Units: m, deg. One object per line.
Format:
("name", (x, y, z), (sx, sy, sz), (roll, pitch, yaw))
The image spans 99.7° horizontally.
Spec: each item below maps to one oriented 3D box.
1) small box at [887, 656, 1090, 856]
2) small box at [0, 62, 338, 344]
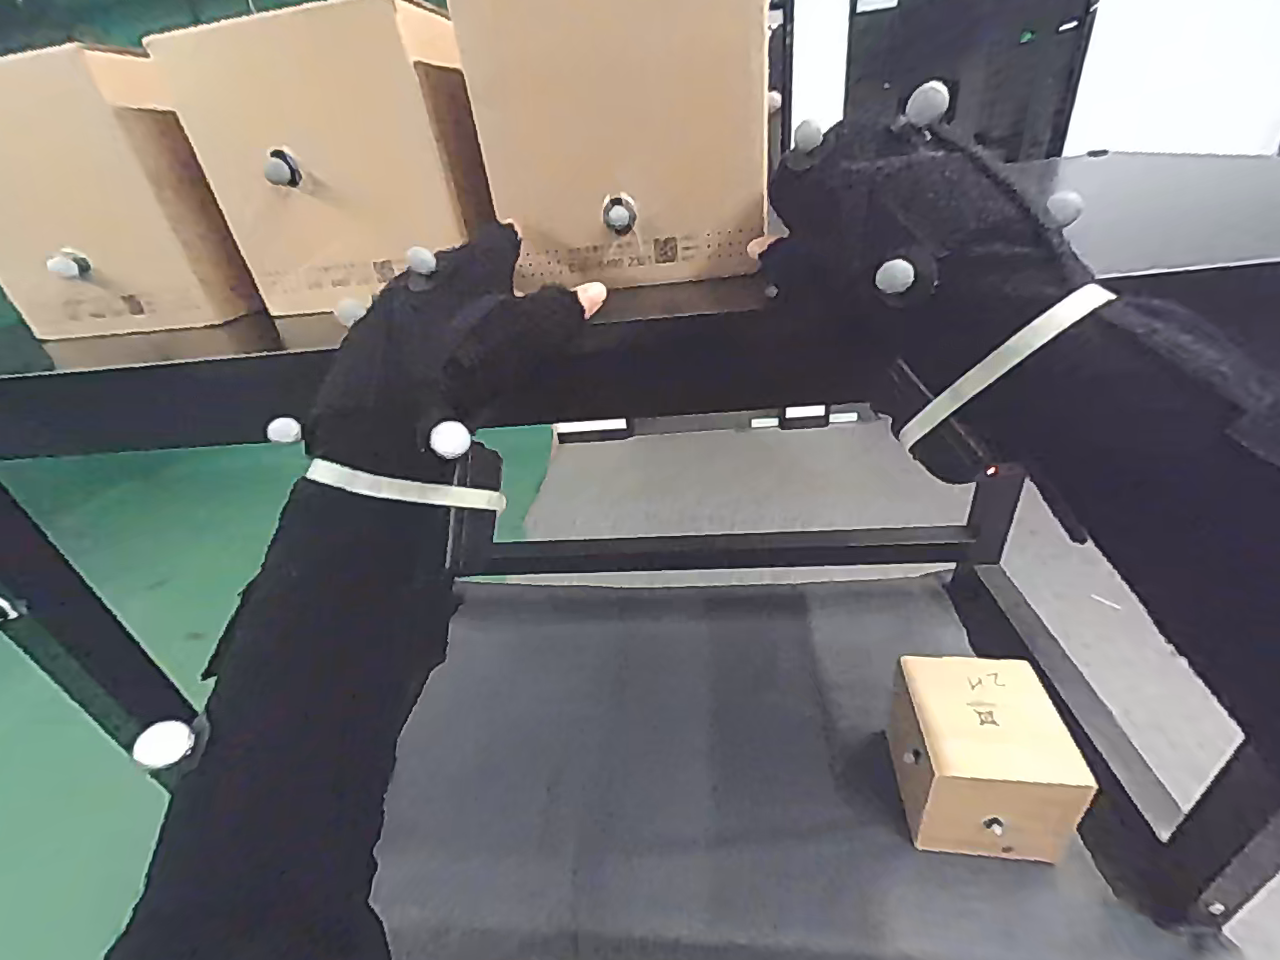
("small box", (0.438, 0.360, 0.715), (0.168, 0.176, 0.179), (-1, 31, 11))
("small box", (-0.386, -0.220, 0.446), (0.168, 0.176, 0.179), (-2, 32, 9))
